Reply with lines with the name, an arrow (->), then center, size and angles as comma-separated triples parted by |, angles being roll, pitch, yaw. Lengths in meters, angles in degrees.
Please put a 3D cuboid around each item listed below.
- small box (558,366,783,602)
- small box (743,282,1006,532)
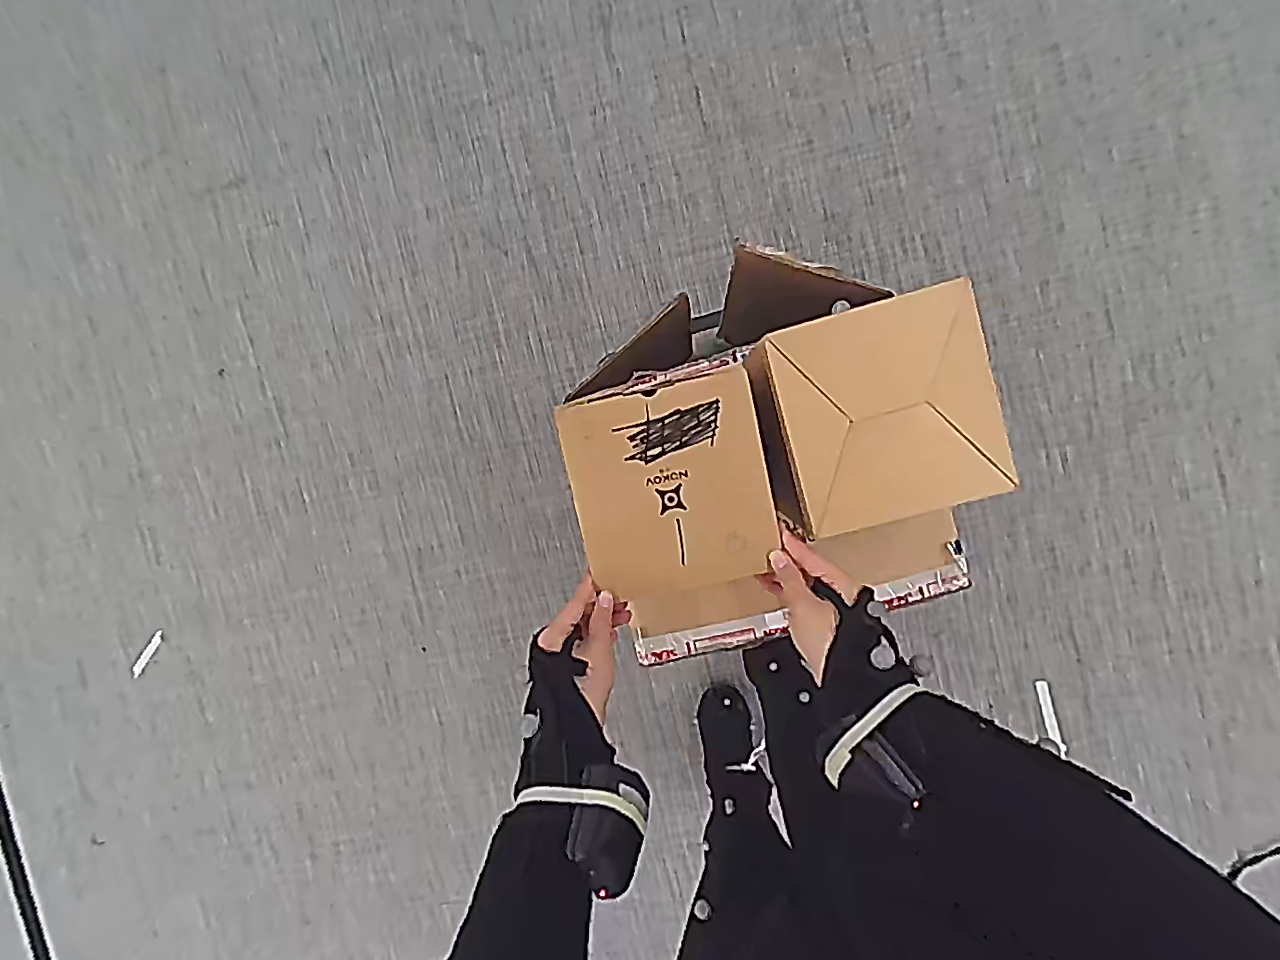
small box -> 0.028, -0.001, 0.534 | 0.168, 0.176, 0.179 | -12, 95, 4
small box -> 0.206, -0.060, 0.513 | 0.168, 0.176, 0.179 | -16, 93, 4
